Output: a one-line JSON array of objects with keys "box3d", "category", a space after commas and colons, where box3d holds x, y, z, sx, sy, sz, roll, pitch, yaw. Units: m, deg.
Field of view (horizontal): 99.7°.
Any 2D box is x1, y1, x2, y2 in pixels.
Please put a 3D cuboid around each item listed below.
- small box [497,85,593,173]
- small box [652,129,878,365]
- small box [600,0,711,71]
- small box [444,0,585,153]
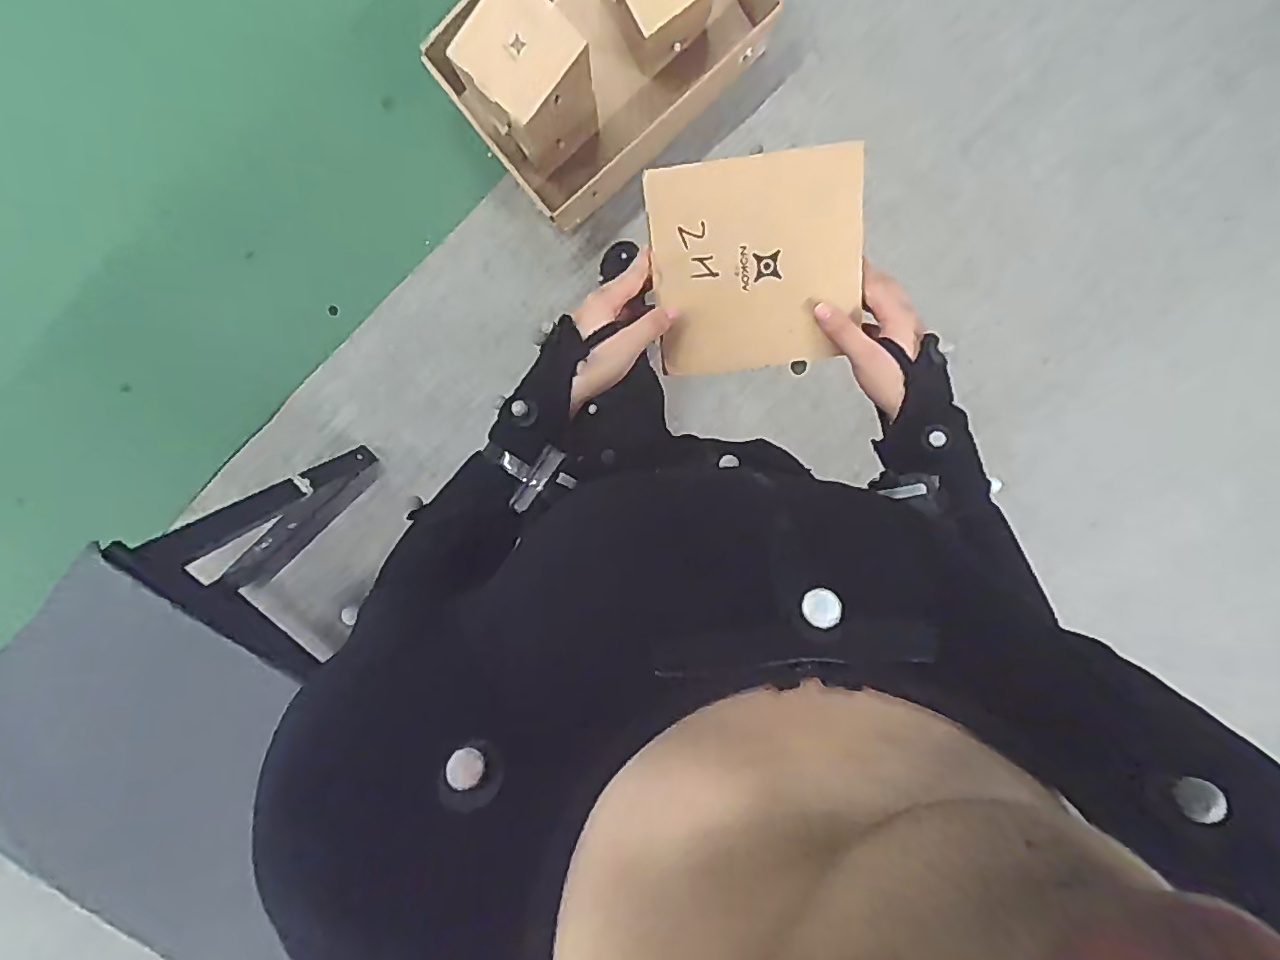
[{"box3d": [-0.212, -0.776, 1.117, 0.179, 0.176, 0.168, -38, 104, 9], "category": "small box"}, {"box3d": [0.106, -0.211, 0.519, 0.179, 0.176, 0.168, -6, 108, 3], "category": "small box"}, {"box3d": [0.024, -0.971, 1.069, 0.168, 0.176, 0.179, -32, 106, 8], "category": "small box"}, {"box3d": [-0.209, -0.727, 0.959, 0.168, 0.176, 0.179, 40, 99, -13], "category": "small box"}]
